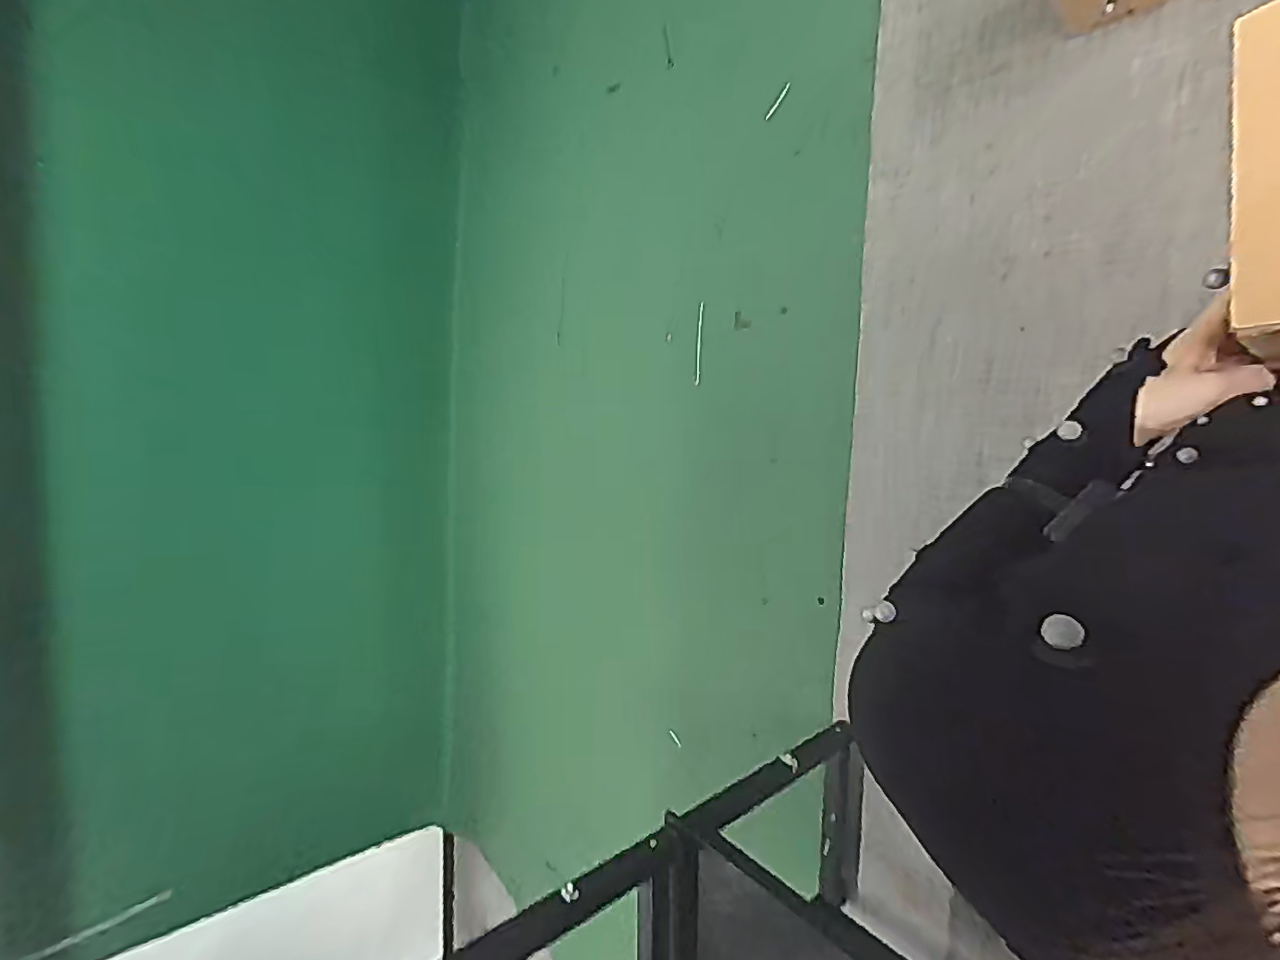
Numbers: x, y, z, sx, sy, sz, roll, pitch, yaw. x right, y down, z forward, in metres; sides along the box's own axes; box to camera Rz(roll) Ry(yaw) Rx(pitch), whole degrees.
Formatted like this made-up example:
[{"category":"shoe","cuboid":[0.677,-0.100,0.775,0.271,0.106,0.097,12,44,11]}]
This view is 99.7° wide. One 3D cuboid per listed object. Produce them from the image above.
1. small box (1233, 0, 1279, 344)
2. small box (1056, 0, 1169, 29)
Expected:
[{"category":"small box","cuboid":[0.442,-0.176,0.283,0.168,0.176,0.179,1,93,53]},{"category":"small box","cuboid":[0.970,-1.054,1.082,0.168,0.176,0.179,14,102,49]}]
